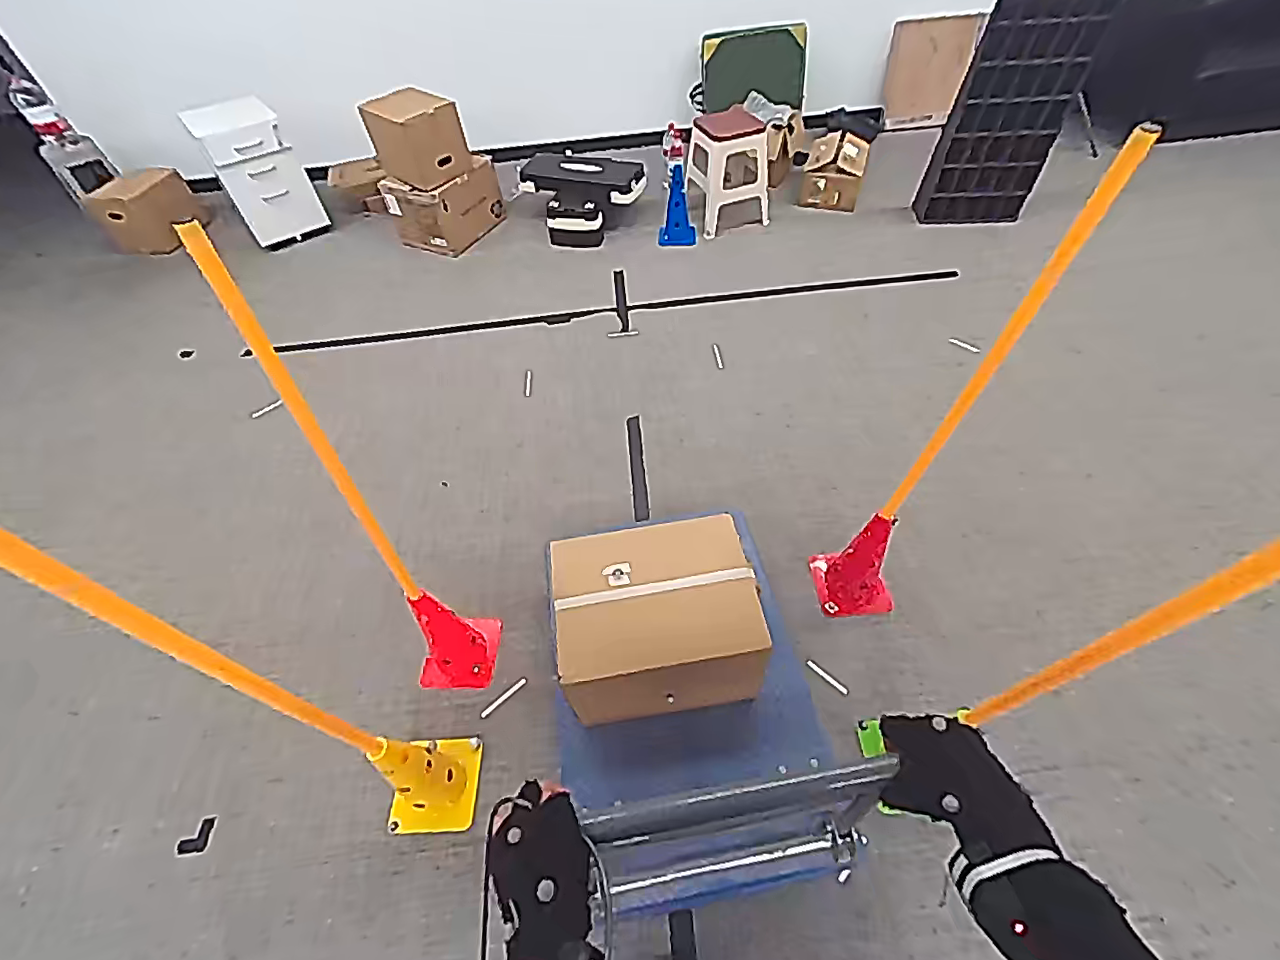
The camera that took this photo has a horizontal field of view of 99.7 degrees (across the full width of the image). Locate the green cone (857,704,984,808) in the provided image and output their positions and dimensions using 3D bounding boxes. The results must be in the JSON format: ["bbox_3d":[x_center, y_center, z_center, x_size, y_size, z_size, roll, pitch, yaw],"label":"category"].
[{"bbox_3d":[0.630,0.559,1.155,0.202,0.368,0.200,-2,51,1],"label":"green cone"}]

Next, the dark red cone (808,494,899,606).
[{"bbox_3d":[0.605,0.172,1.447,0.201,0.394,0.202,-5,51,-2],"label":"dark red cone"}]

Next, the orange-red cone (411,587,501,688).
[{"bbox_3d":[-0.510,0.374,1.394,0.198,0.360,0.199,0,50,3],"label":"orange-red cone"}]

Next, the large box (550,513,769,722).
[{"bbox_3d":[0.036,0.315,1.213,0.408,0.320,0.320,-10,52,-2],"label":"large box"}]
